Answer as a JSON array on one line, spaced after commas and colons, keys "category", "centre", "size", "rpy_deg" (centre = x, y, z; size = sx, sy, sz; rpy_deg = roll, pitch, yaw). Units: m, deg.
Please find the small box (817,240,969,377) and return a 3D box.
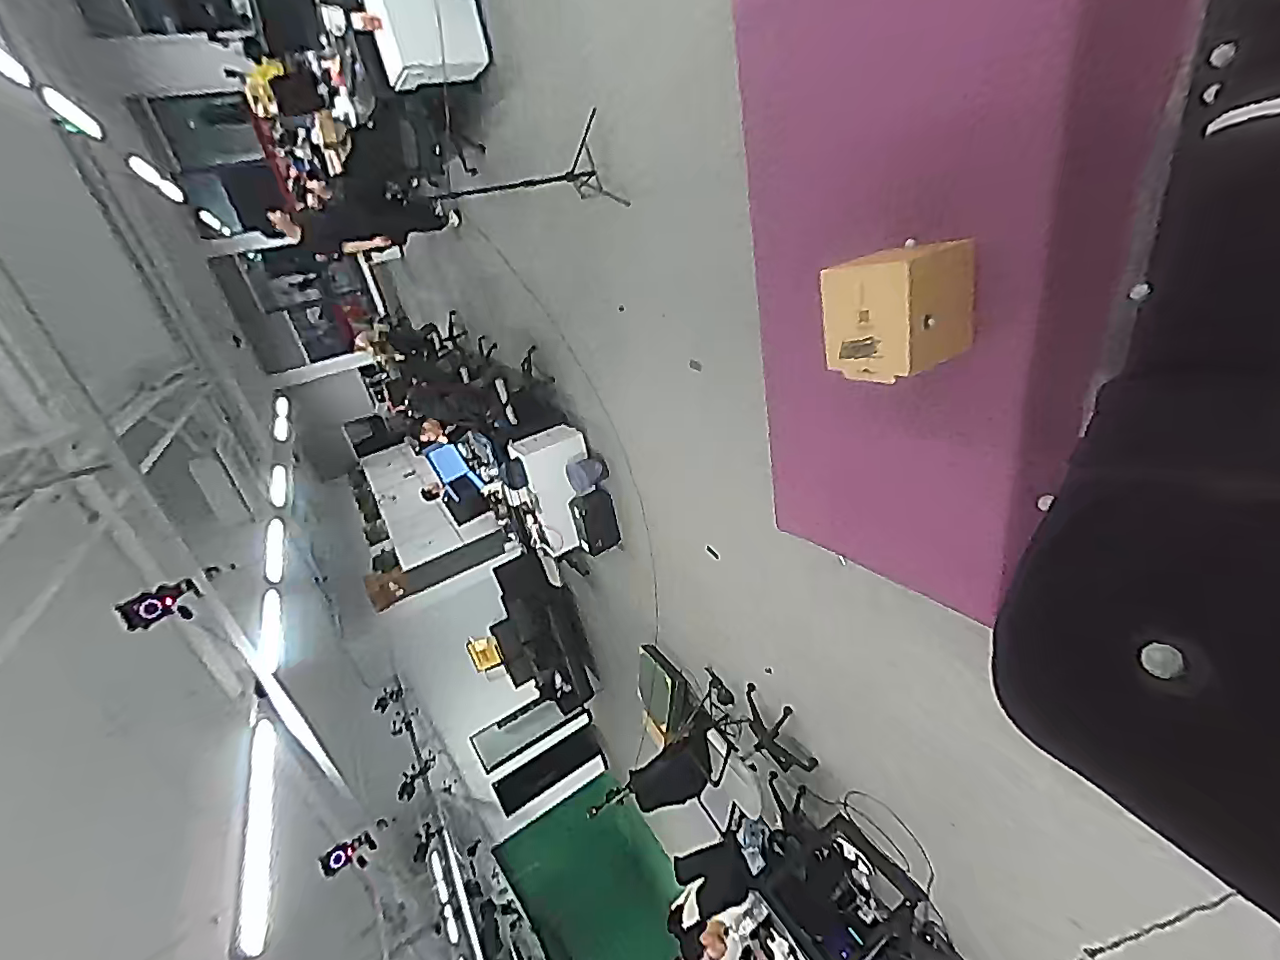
[{"category": "small box", "centre": [0.425, -0.288, 0.911], "size": [0.168, 0.176, 0.179], "rpy_deg": [25, 133, 56]}]
